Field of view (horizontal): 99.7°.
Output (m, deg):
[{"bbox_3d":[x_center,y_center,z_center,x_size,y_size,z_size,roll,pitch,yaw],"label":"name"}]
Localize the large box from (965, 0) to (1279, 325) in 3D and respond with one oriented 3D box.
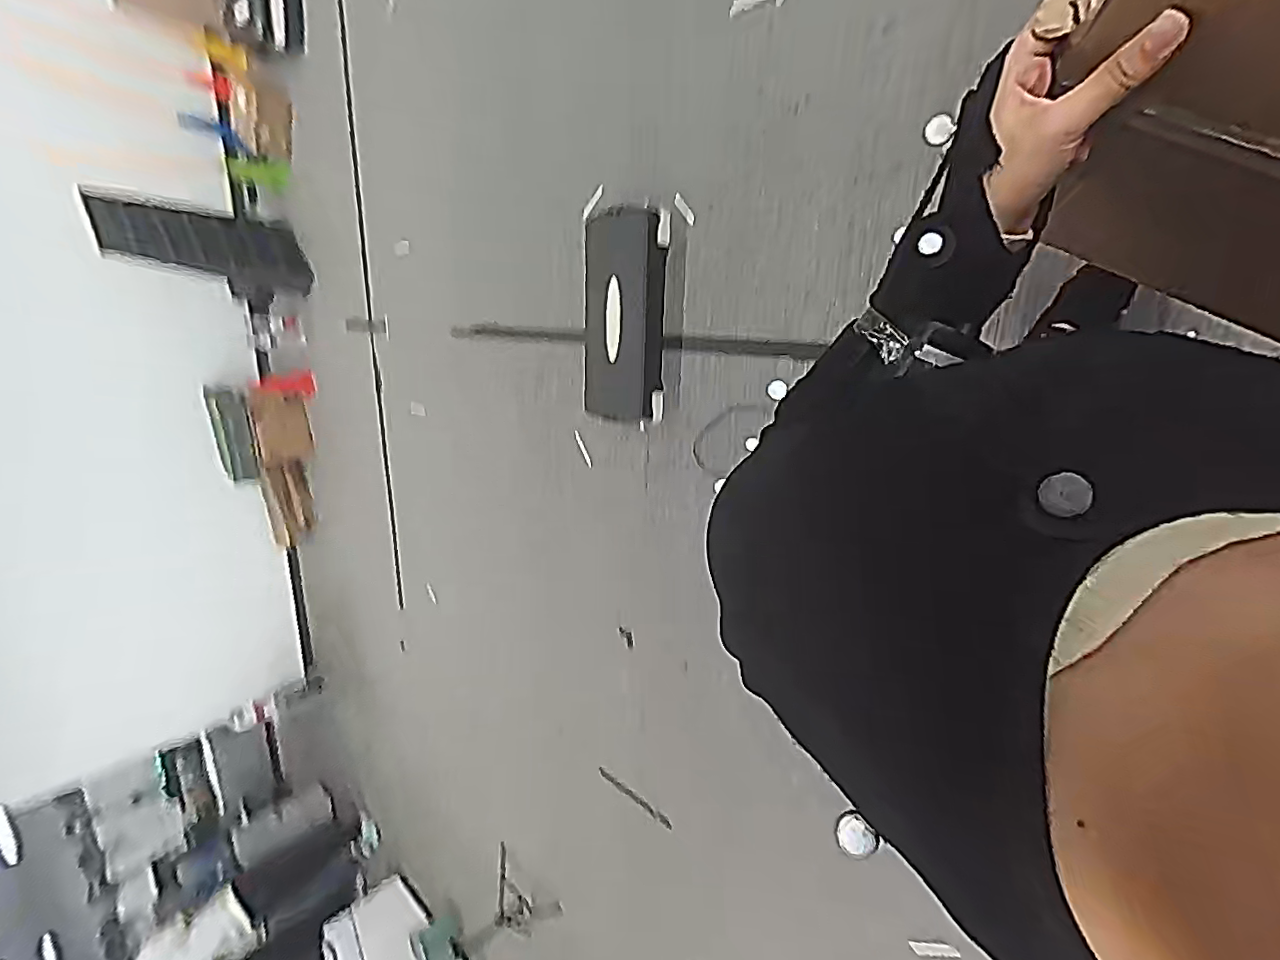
[{"bbox_3d":[0.443,-0.252,0.214,0.408,0.320,0.320,30,100,15],"label":"large box"}]
